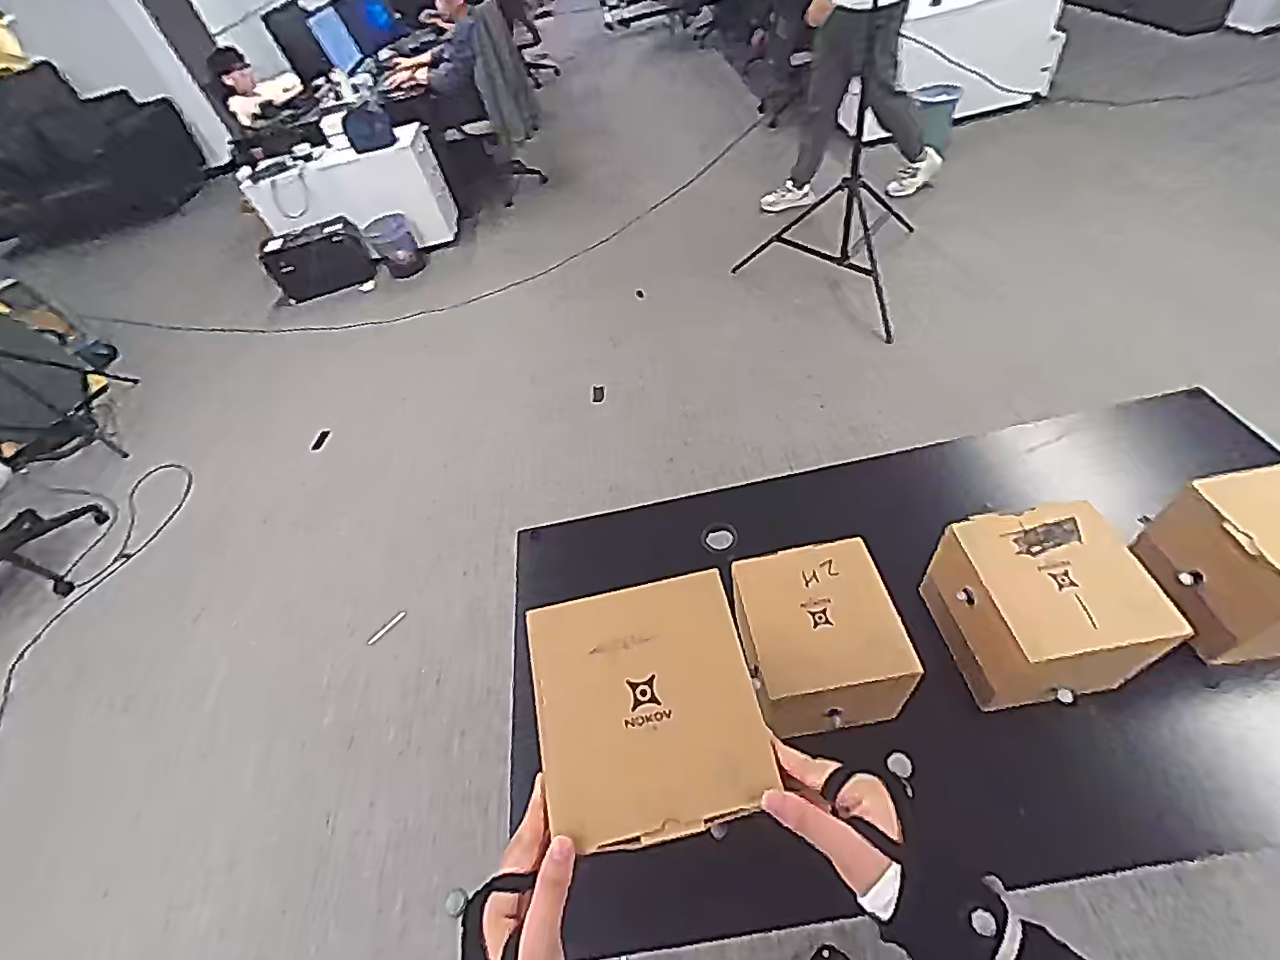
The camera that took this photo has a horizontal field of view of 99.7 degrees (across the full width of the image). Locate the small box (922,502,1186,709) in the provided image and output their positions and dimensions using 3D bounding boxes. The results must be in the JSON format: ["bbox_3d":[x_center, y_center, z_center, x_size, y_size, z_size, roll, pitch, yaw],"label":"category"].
[{"bbox_3d":[0.477,0.156,0.664,0.168,0.176,0.179,-12,50,3],"label":"small box"}]

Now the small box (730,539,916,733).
[{"bbox_3d":[0.217,0.204,0.685,0.168,0.176,0.179,-12,49,3],"label":"small box"}]

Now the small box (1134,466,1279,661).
[{"bbox_3d":[0.752,0.100,0.646,0.179,0.176,0.168,-11,49,6],"label":"small box"}]

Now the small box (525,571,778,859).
[{"bbox_3d":[0.006,0.204,0.477,0.168,0.176,0.179,-12,59,-4],"label":"small box"}]
